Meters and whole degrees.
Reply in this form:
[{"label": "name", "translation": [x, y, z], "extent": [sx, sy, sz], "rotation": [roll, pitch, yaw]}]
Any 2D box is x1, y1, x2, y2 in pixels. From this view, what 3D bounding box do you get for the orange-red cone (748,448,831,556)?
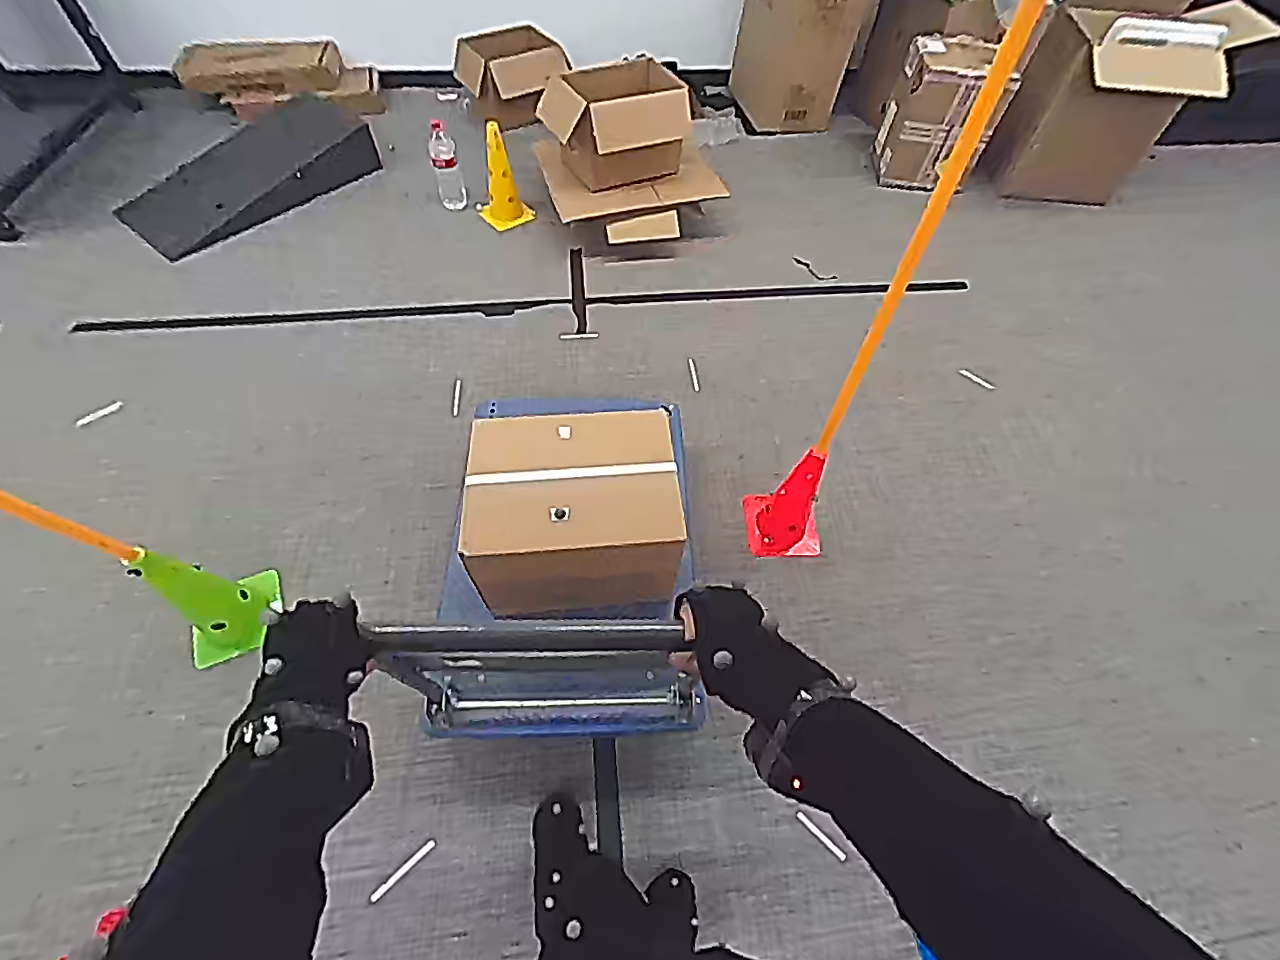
[{"label": "orange-red cone", "translation": [0.423, 0.034, 1.411], "extent": [0.199, 0.360, 0.198], "rotation": [2, 57, -3]}]
